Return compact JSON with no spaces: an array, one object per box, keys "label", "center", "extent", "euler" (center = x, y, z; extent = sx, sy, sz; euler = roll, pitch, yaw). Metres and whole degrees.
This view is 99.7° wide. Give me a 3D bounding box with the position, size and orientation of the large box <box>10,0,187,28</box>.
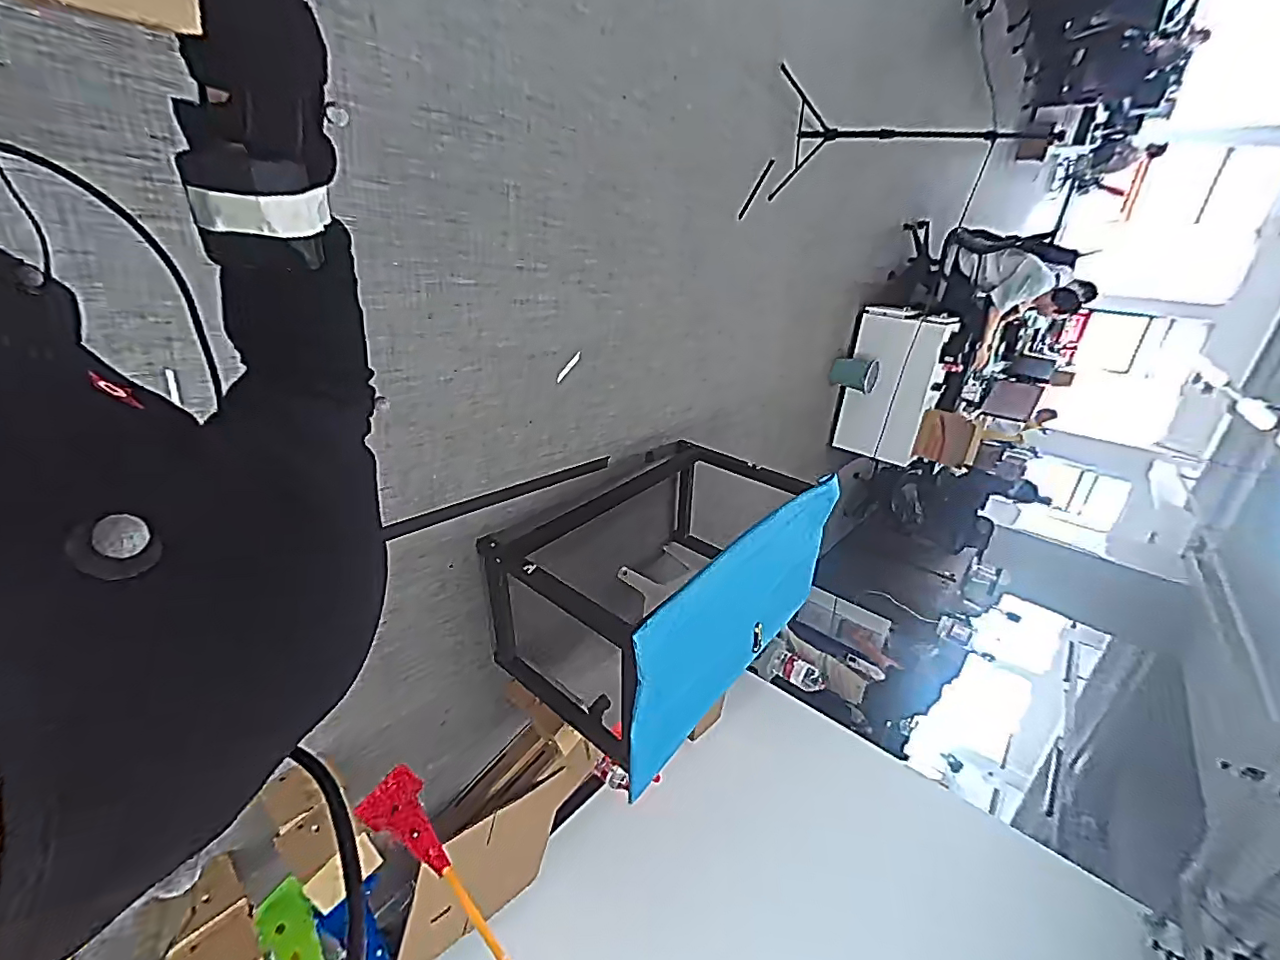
[{"label":"large box","center":[-0.428,-0.359,0.120],"extent":[0.408,0.320,0.320],"euler":[-24,136,-46]}]
